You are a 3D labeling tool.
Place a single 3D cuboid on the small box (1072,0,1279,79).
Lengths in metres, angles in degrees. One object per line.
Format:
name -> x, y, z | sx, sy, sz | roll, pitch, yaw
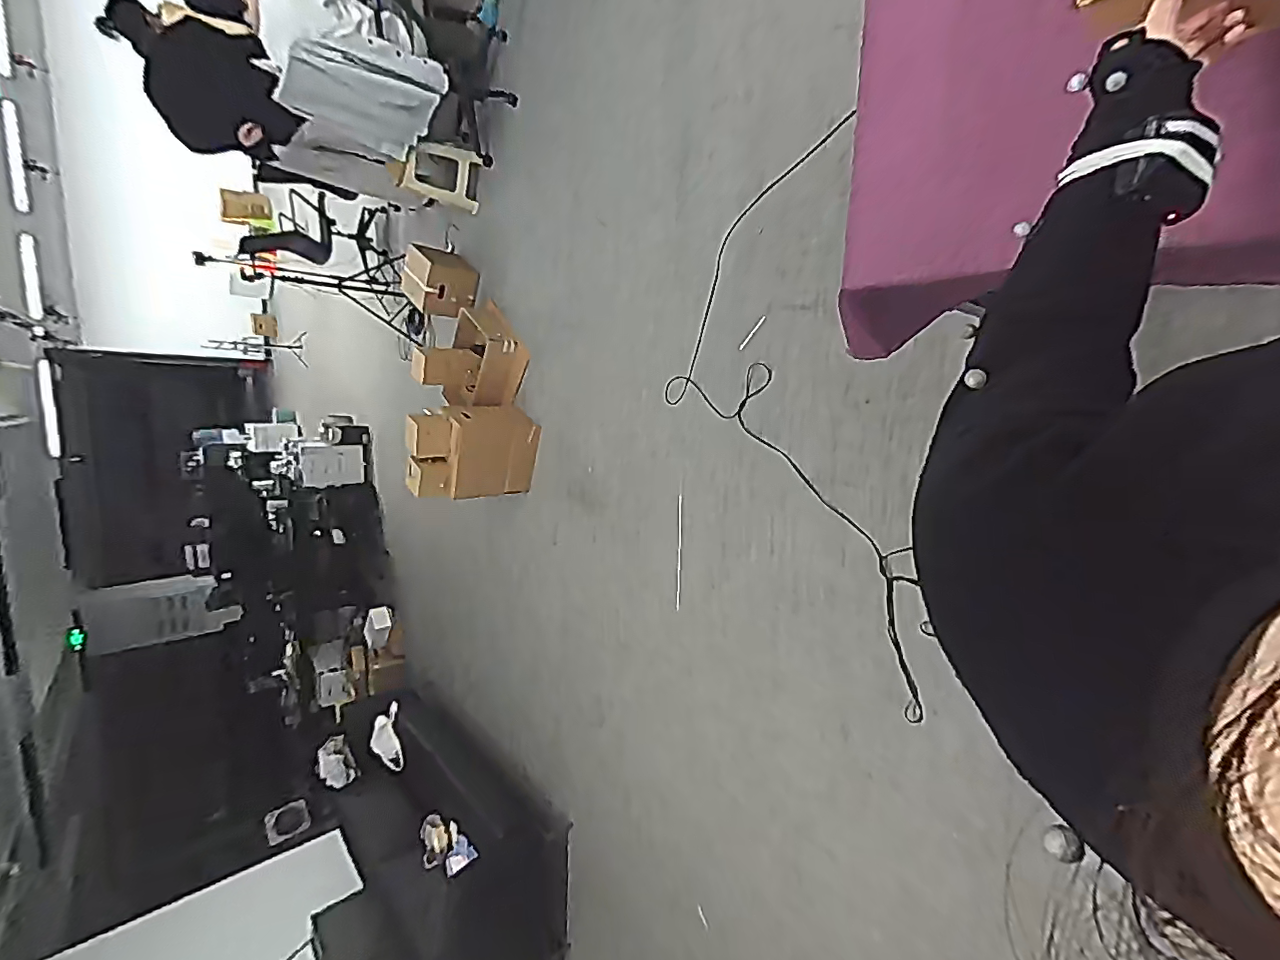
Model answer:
small box -> 0.526, -0.520, 0.492 | 0.168, 0.176, 0.179 | 13, 104, 47
